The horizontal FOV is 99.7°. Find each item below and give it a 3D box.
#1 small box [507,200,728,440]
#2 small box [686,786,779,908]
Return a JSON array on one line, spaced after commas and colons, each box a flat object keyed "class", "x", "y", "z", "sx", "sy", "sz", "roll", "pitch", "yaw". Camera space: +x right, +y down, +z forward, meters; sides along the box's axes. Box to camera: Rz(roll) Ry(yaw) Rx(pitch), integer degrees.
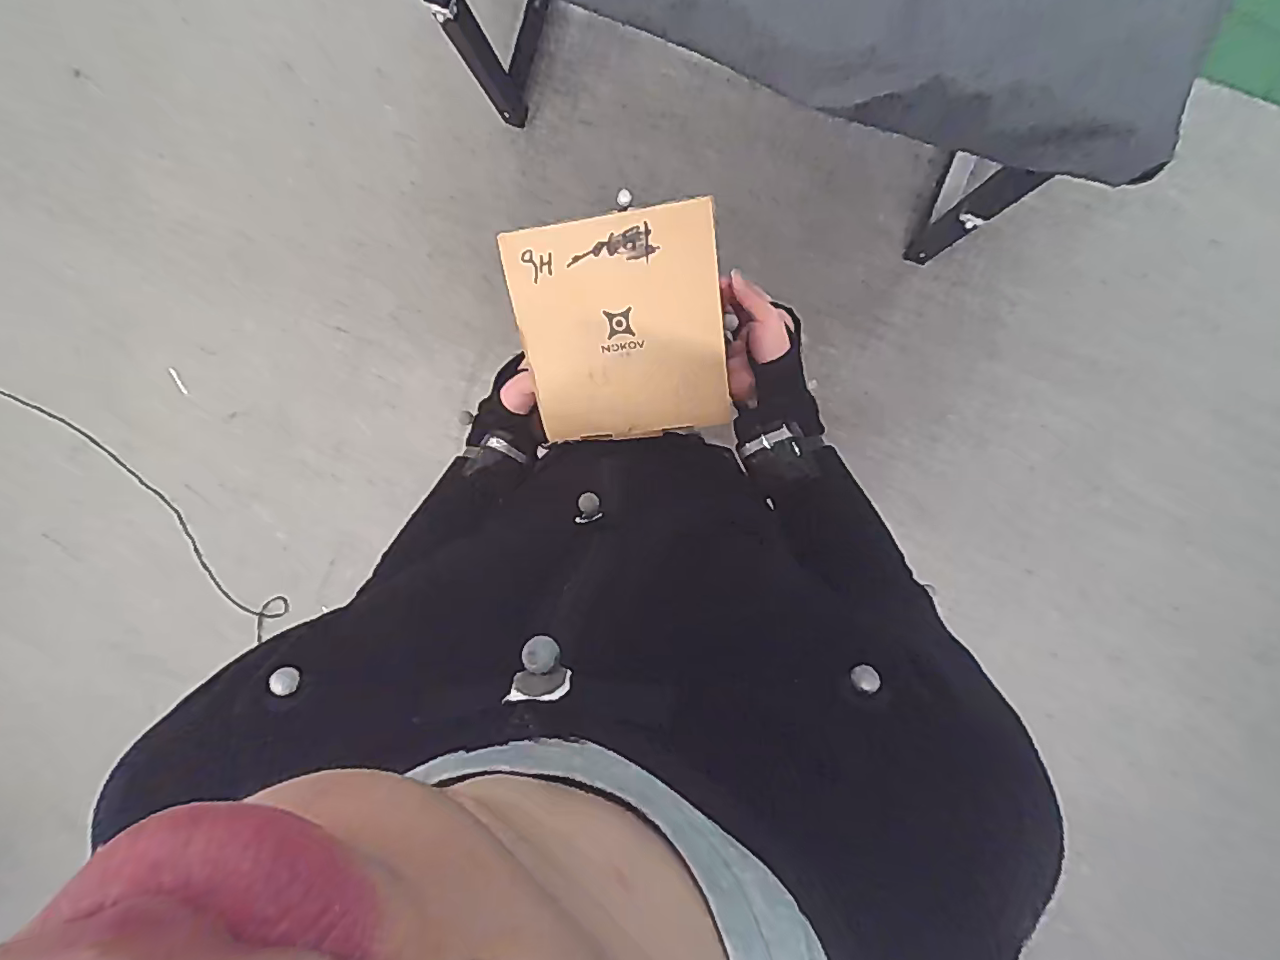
[{"class": "small box", "x": -0.004, "y": -0.157, "z": 0.517, "sx": 0.168, "sy": 0.176, "sz": 0.179, "roll": -5, "pitch": 118, "yaw": 9}, {"class": "small box", "x": 0.237, "y": 0.957, "z": 1.428, "sx": 0.179, "sy": 0.176, "sz": 0.168, "roll": 34, "pitch": 97, "yaw": 0}]
